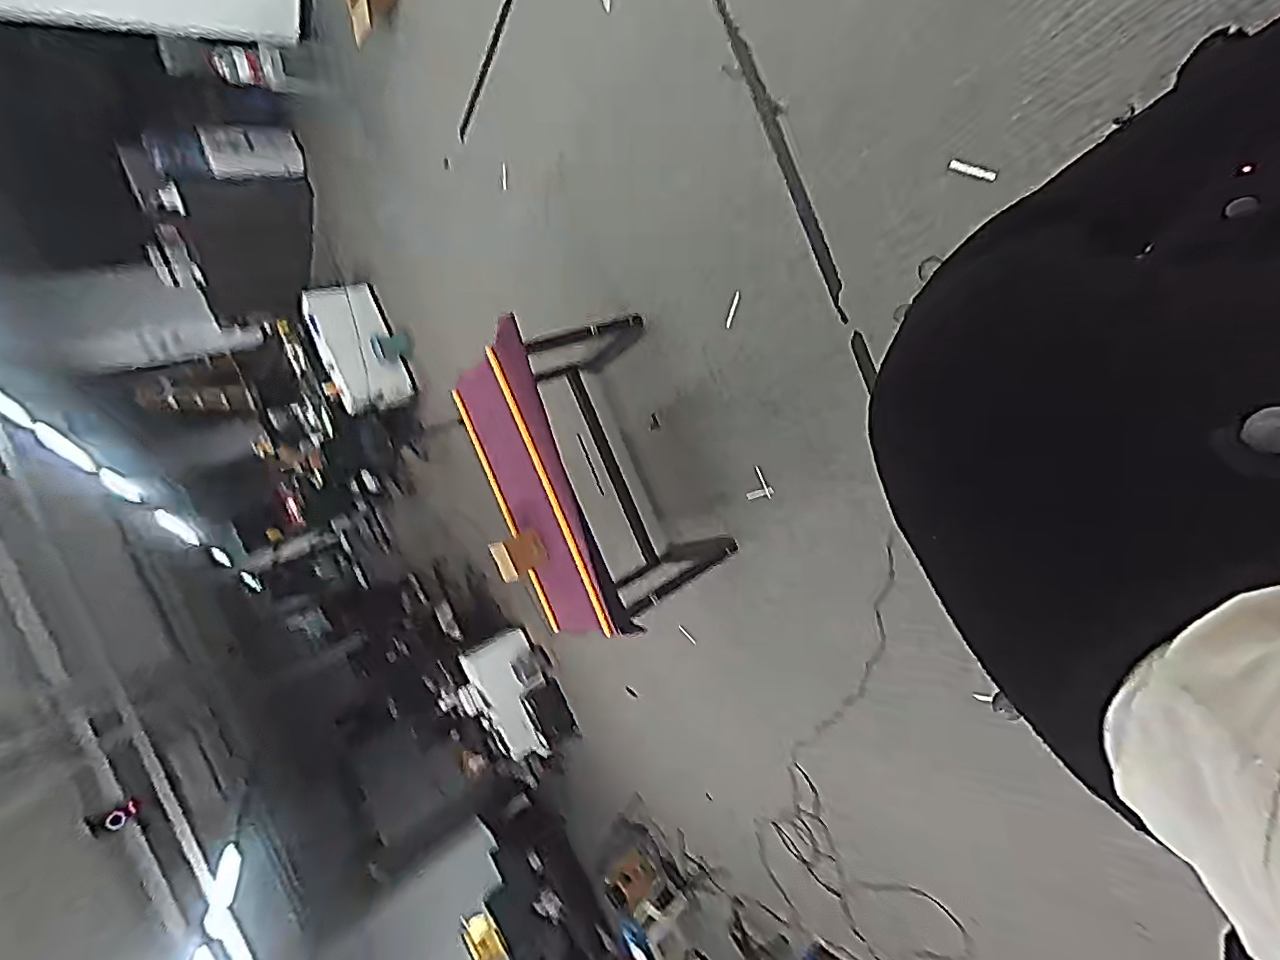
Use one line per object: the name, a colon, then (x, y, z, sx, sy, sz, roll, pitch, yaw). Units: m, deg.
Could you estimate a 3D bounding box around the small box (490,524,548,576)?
small box: (-0.529, 0.308, 2.374, 0.179, 0.176, 0.168, -22, 93, 55)
